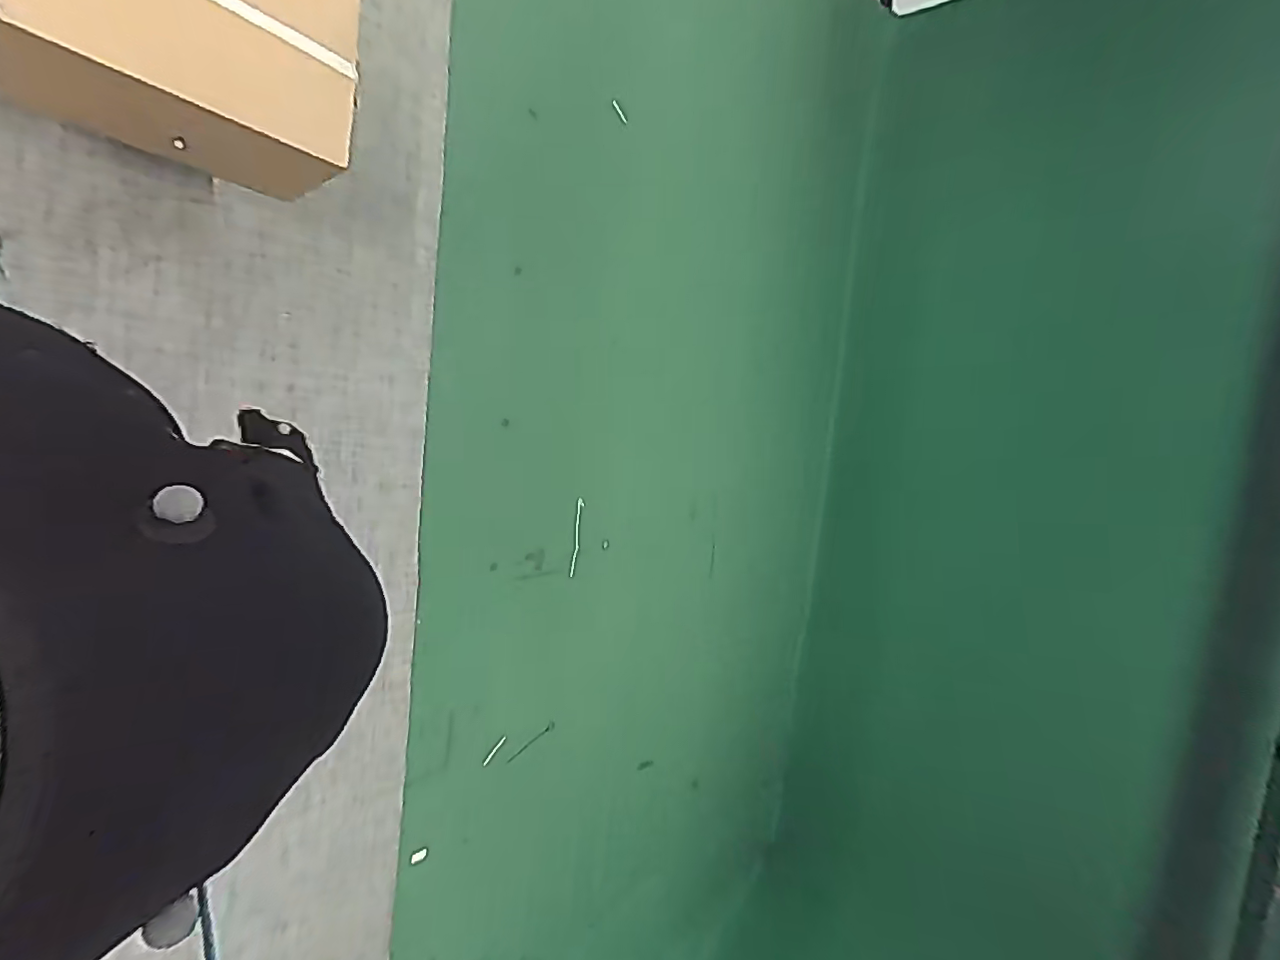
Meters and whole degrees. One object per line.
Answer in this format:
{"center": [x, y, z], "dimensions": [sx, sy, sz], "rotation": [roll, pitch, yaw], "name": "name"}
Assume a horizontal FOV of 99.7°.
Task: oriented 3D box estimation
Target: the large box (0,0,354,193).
{"center": [-0.743, -0.726, 0.881], "dimensions": [0.408, 0.320, 0.320], "rotation": [2, 96, -50], "name": "large box"}
